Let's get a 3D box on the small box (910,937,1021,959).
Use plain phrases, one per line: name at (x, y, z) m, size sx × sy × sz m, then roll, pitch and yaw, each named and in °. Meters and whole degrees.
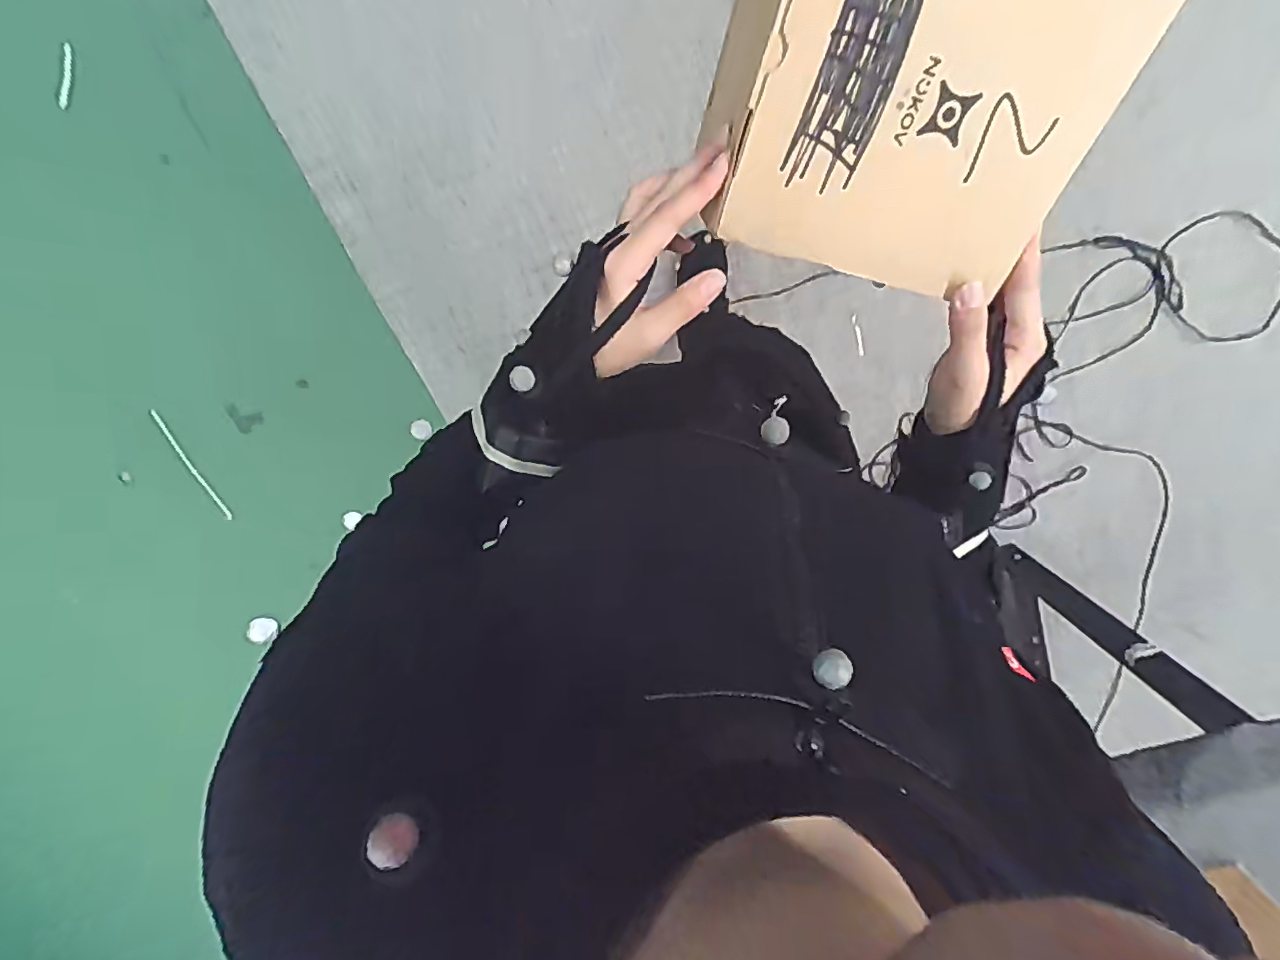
small box at (0.552, 0.866, 0.859) m, size 0.168 × 0.176 × 0.179 m, roll -17°, pitch 111°, yaw 8°
